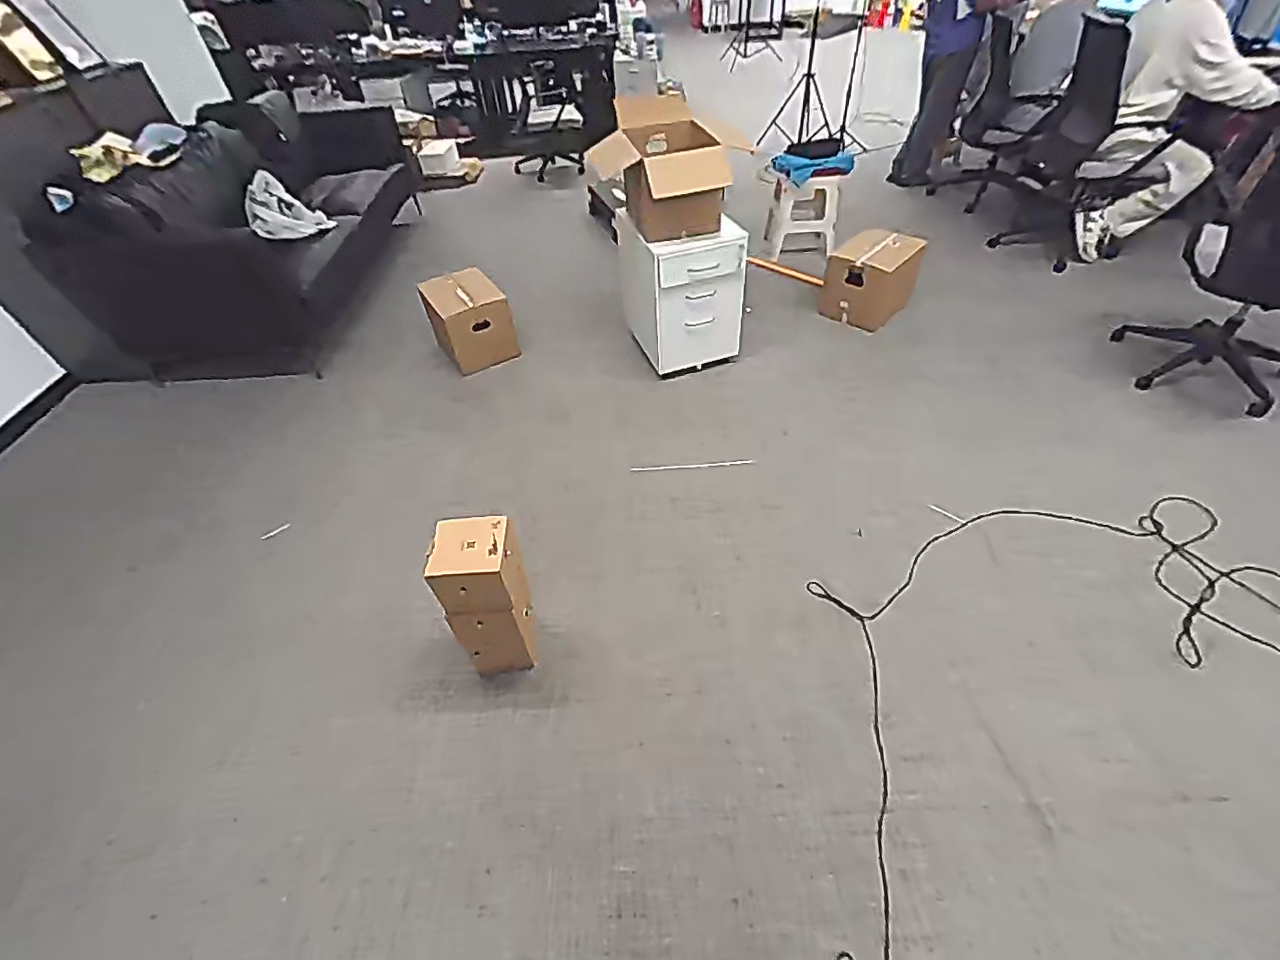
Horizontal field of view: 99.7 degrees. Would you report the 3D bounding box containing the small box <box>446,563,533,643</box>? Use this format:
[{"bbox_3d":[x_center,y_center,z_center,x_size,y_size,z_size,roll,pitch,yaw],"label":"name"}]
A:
[{"bbox_3d":[-0.395,0.323,1.448,0.179,0.176,0.168,-3,47,0],"label":"small box"}]

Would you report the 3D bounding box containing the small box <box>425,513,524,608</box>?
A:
[{"bbox_3d":[-0.399,0.204,1.335,0.179,0.176,0.168,-5,47,1],"label":"small box"}]
